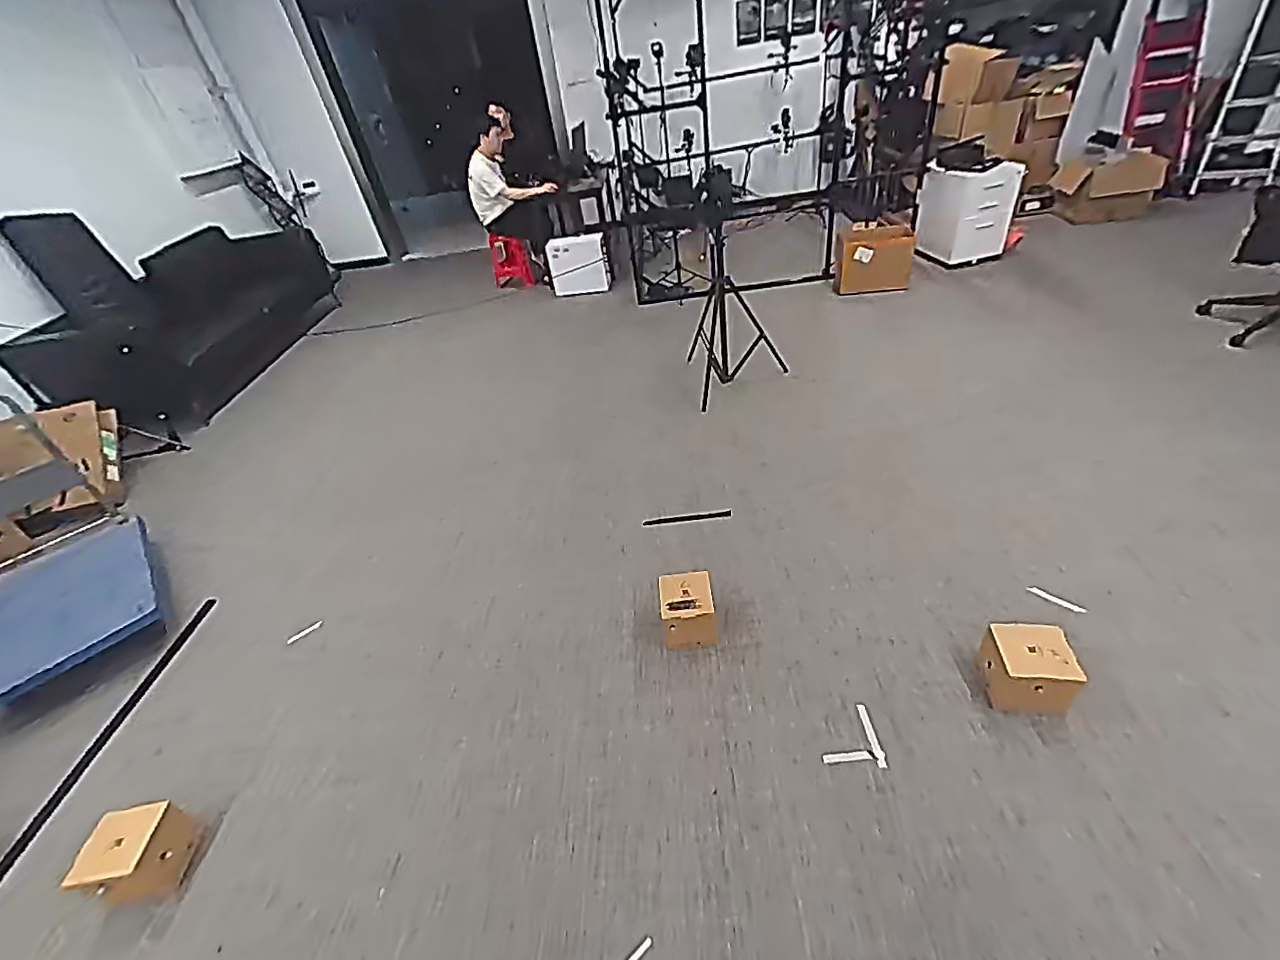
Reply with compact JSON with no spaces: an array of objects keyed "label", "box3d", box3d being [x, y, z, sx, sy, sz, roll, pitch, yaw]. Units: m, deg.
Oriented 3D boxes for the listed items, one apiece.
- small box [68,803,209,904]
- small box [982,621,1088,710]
[{"label":"small box","box3d":[-1.294,0.978,1.415,0.179,0.176,0.168,-11,38,0]},{"label":"small box","box3d":[1.053,0.504,1.465,0.179,0.176,0.168,0,40,12]}]
